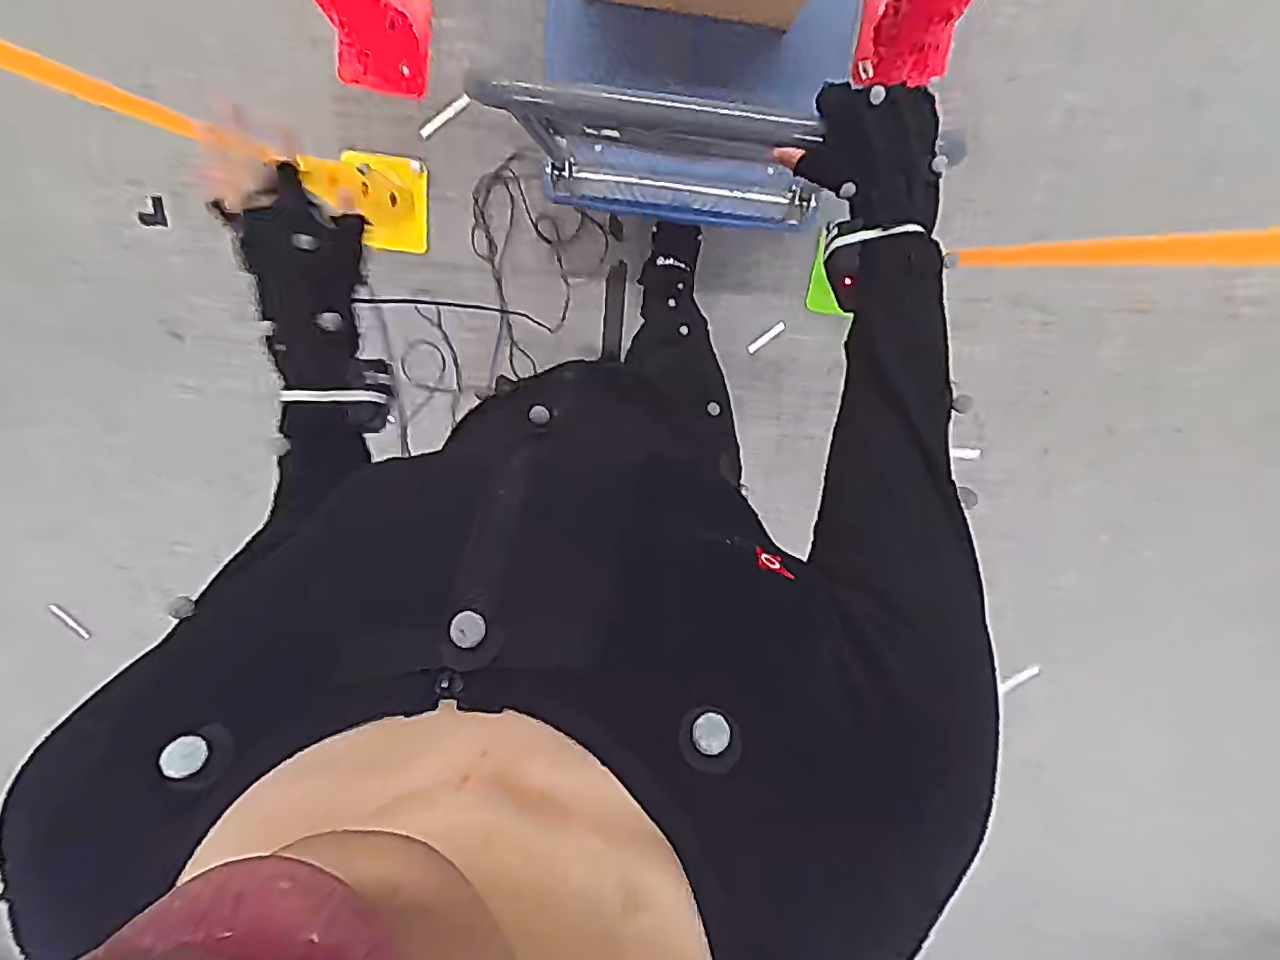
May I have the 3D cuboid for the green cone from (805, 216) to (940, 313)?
[{"bbox_3d":[0.514,-0.464,1.142,0.202,0.368,0.200,8,108,-3],"label":"green cone"}]

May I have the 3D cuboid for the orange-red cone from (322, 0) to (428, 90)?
[{"bbox_3d":[-0.563,-0.924,1.006,0.198,0.360,0.199,11,107,-4],"label":"orange-red cone"}]

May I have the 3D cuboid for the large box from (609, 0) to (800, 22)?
[{"bbox_3d":[0.098,-0.974,0.830,0.408,0.320,0.320,8,109,-1],"label":"large box"}]

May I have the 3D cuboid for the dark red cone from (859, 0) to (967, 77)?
[{"bbox_3d":[0.571,-0.916,0.974,0.201,0.394,0.202,4,109,-2],"label":"dark red cone"}]
